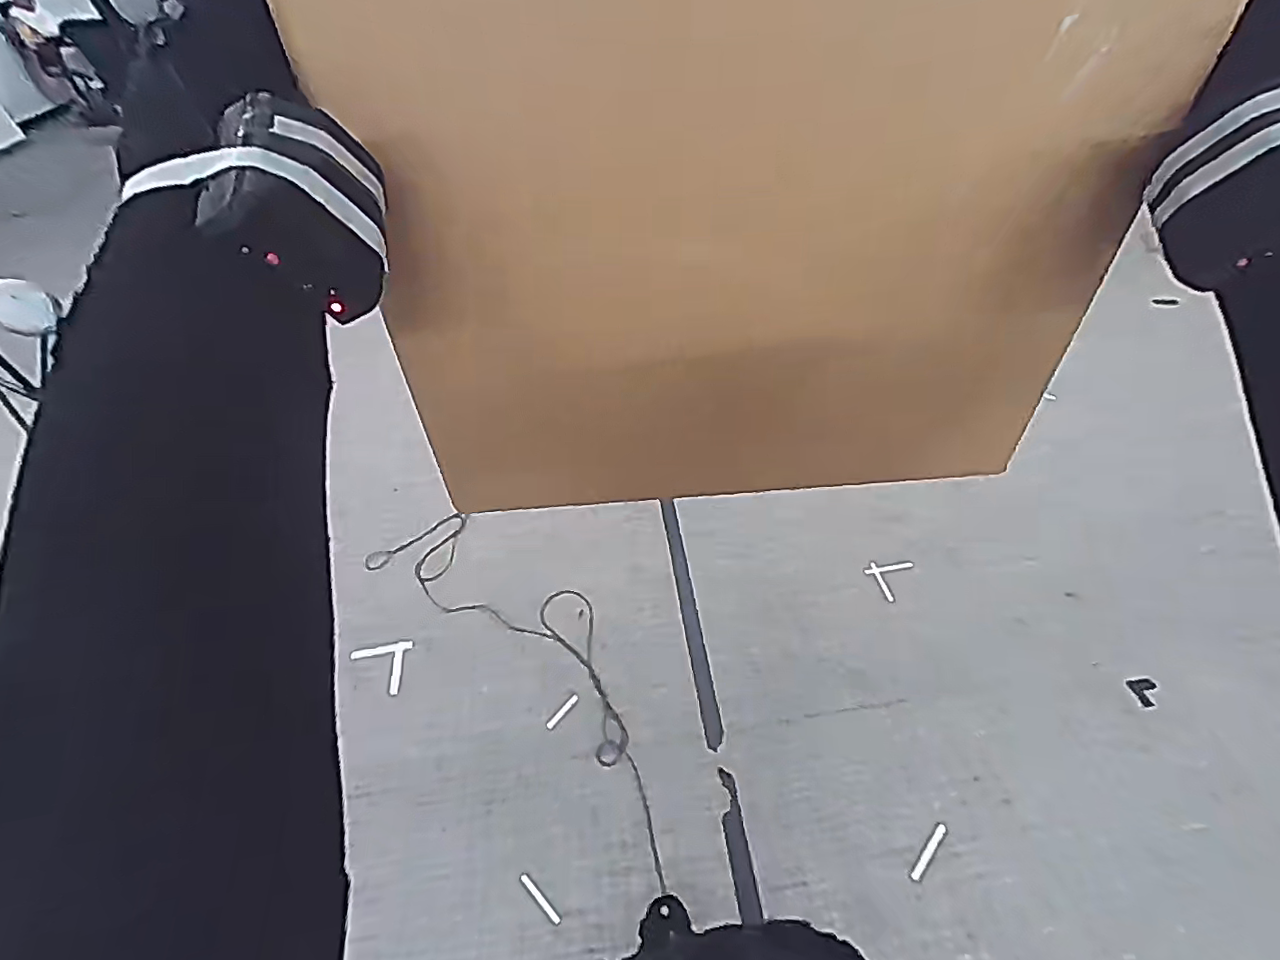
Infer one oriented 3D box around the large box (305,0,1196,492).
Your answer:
[{"bbox_3d":[0.047,-0.213,0.418,0.408,0.320,0.320,-4,41,-2],"label":"large box"}]
